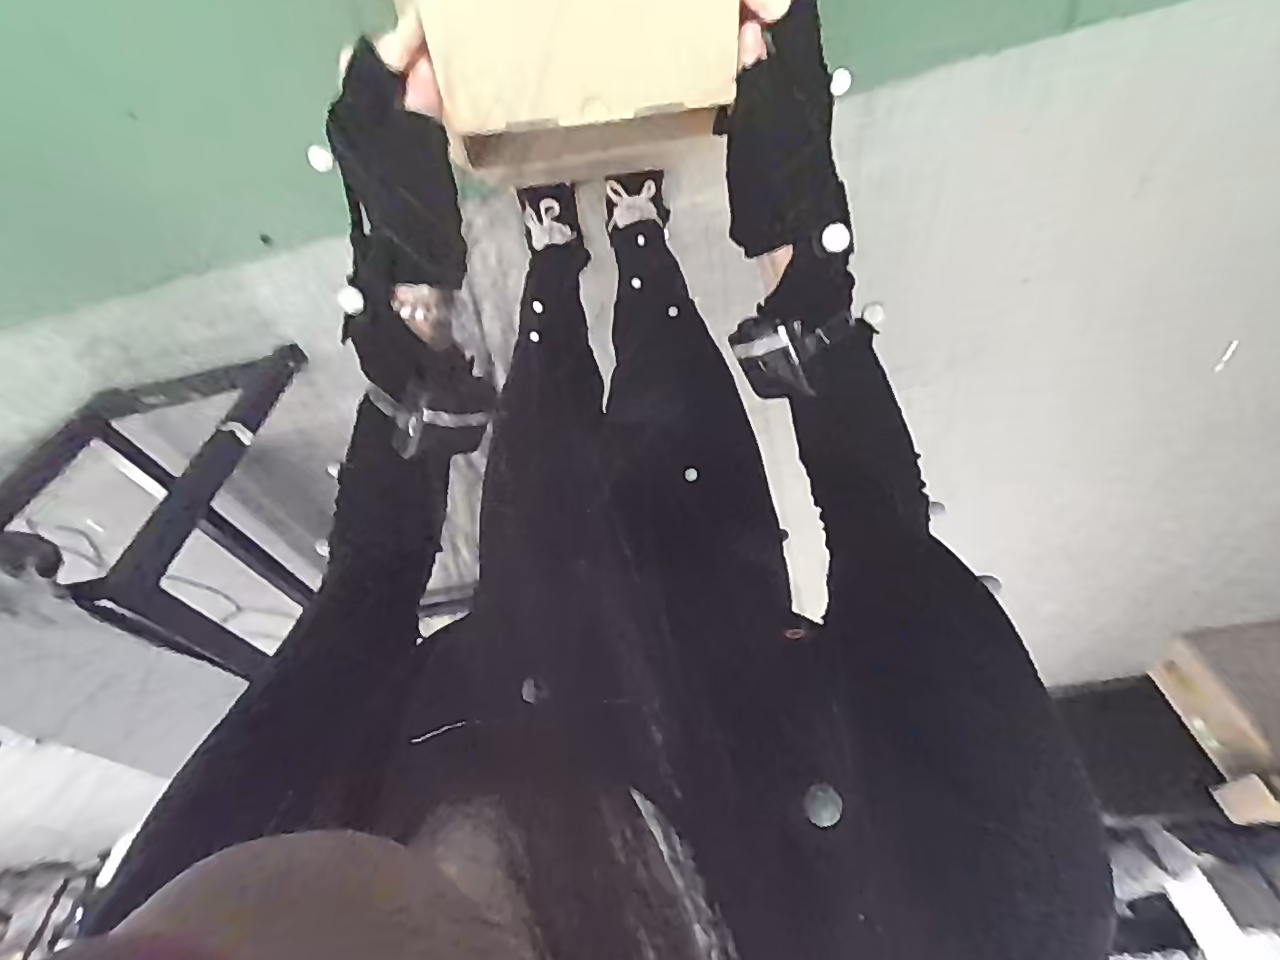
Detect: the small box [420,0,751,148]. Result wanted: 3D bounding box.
[{"bbox_3d":[-0.037,-0.312,0.304,0.168,0.176,0.179,-8,134,-1],"label":"small box"}]
